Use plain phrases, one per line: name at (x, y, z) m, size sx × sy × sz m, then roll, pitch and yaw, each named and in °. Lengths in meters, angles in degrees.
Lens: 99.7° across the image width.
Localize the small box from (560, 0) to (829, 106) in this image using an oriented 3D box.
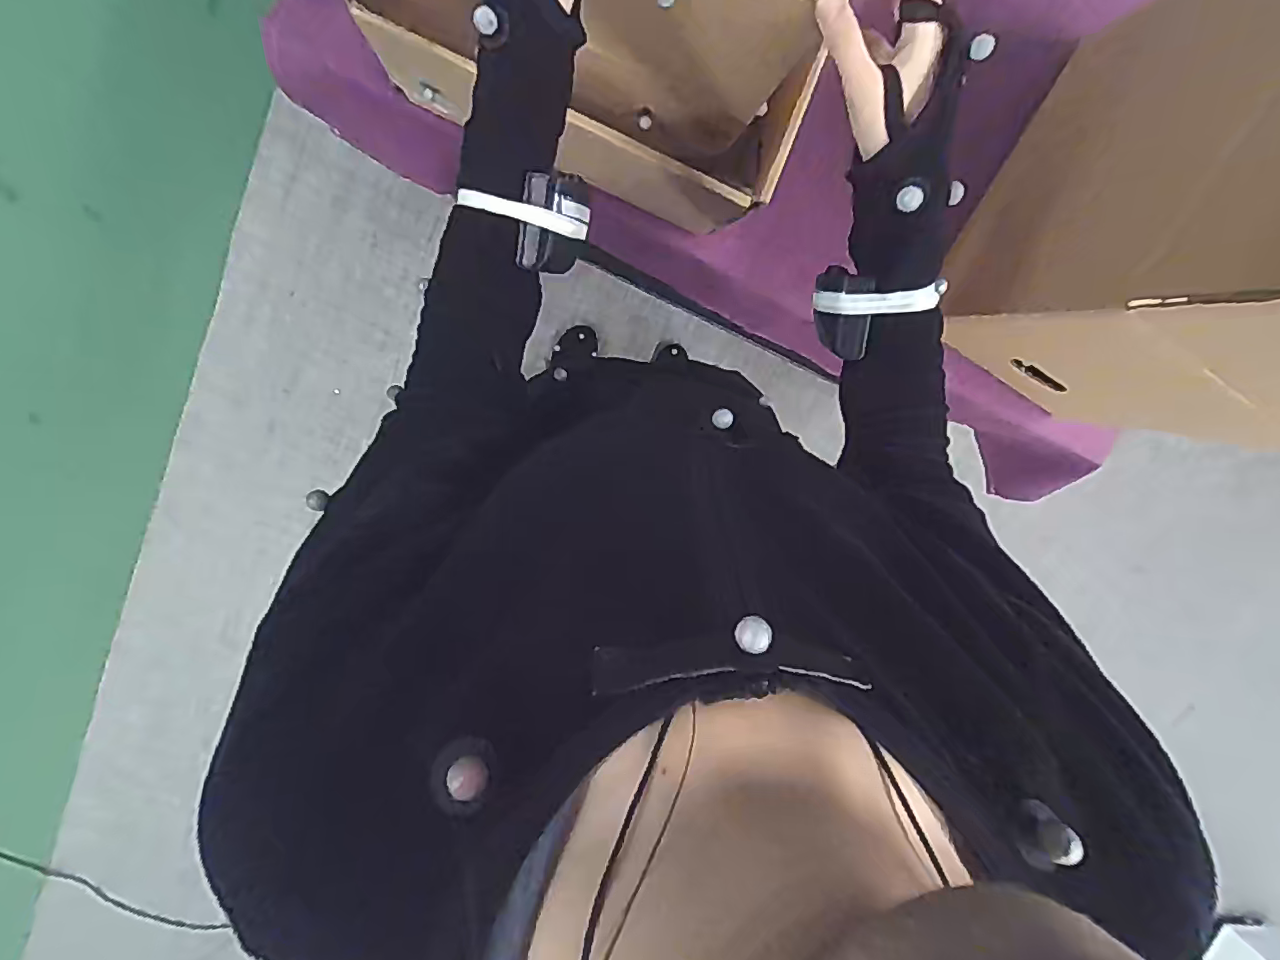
small box at (0.049, -0.392, 0.358) m, size 0.179 × 0.176 × 0.168 m, roll 20°, pitch 103°, yaw -12°
